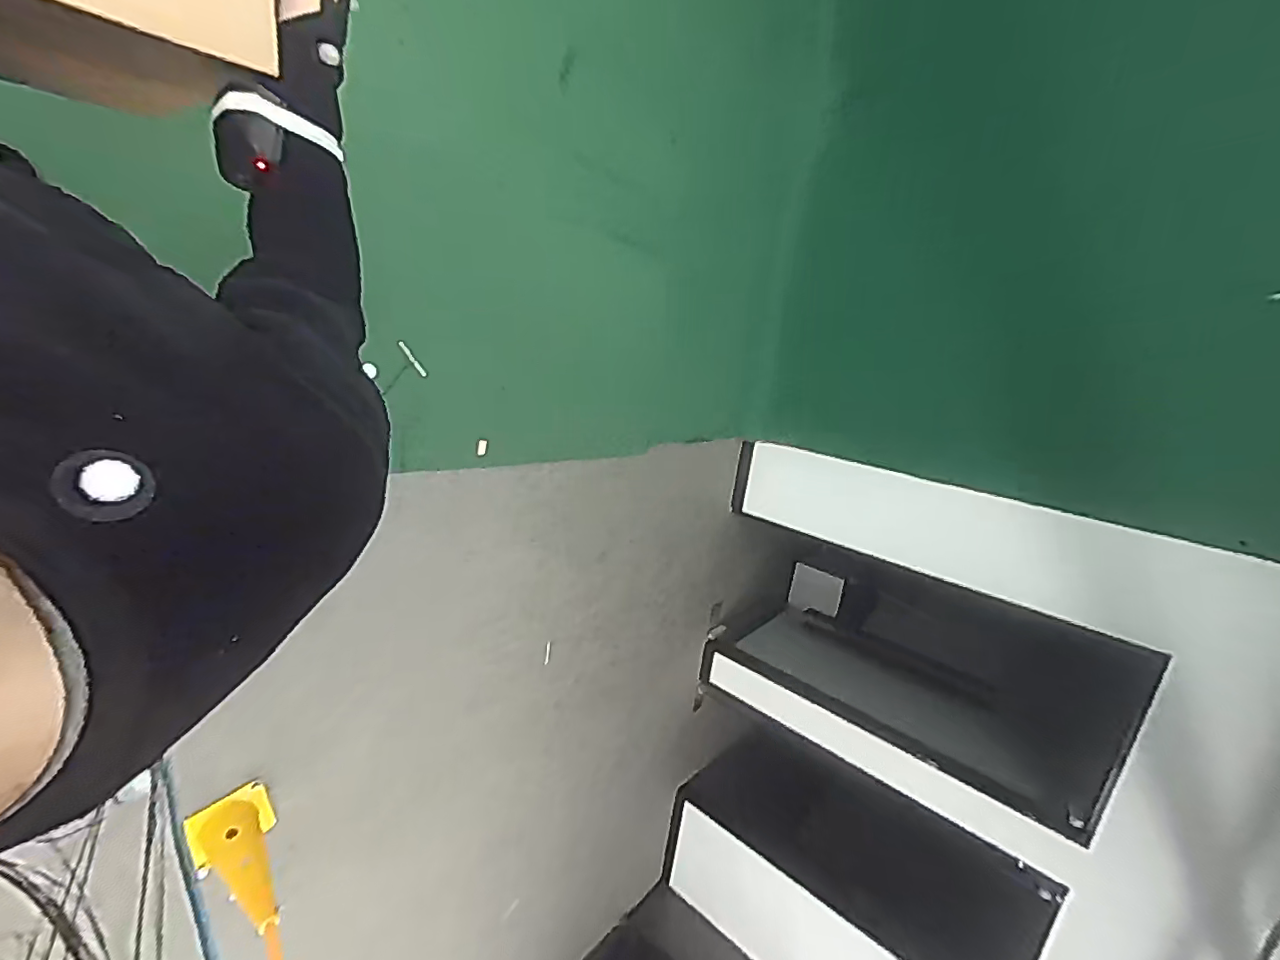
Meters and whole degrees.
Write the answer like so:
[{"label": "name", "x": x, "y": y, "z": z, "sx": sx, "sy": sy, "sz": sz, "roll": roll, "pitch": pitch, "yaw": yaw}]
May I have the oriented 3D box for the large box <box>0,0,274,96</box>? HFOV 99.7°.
[{"label": "large box", "x": -0.513, "y": -0.474, "z": 0.314, "sx": 0.408, "sy": 0.320, "sz": 0.320, "roll": -18, "pitch": 120, "yaw": -50}]
